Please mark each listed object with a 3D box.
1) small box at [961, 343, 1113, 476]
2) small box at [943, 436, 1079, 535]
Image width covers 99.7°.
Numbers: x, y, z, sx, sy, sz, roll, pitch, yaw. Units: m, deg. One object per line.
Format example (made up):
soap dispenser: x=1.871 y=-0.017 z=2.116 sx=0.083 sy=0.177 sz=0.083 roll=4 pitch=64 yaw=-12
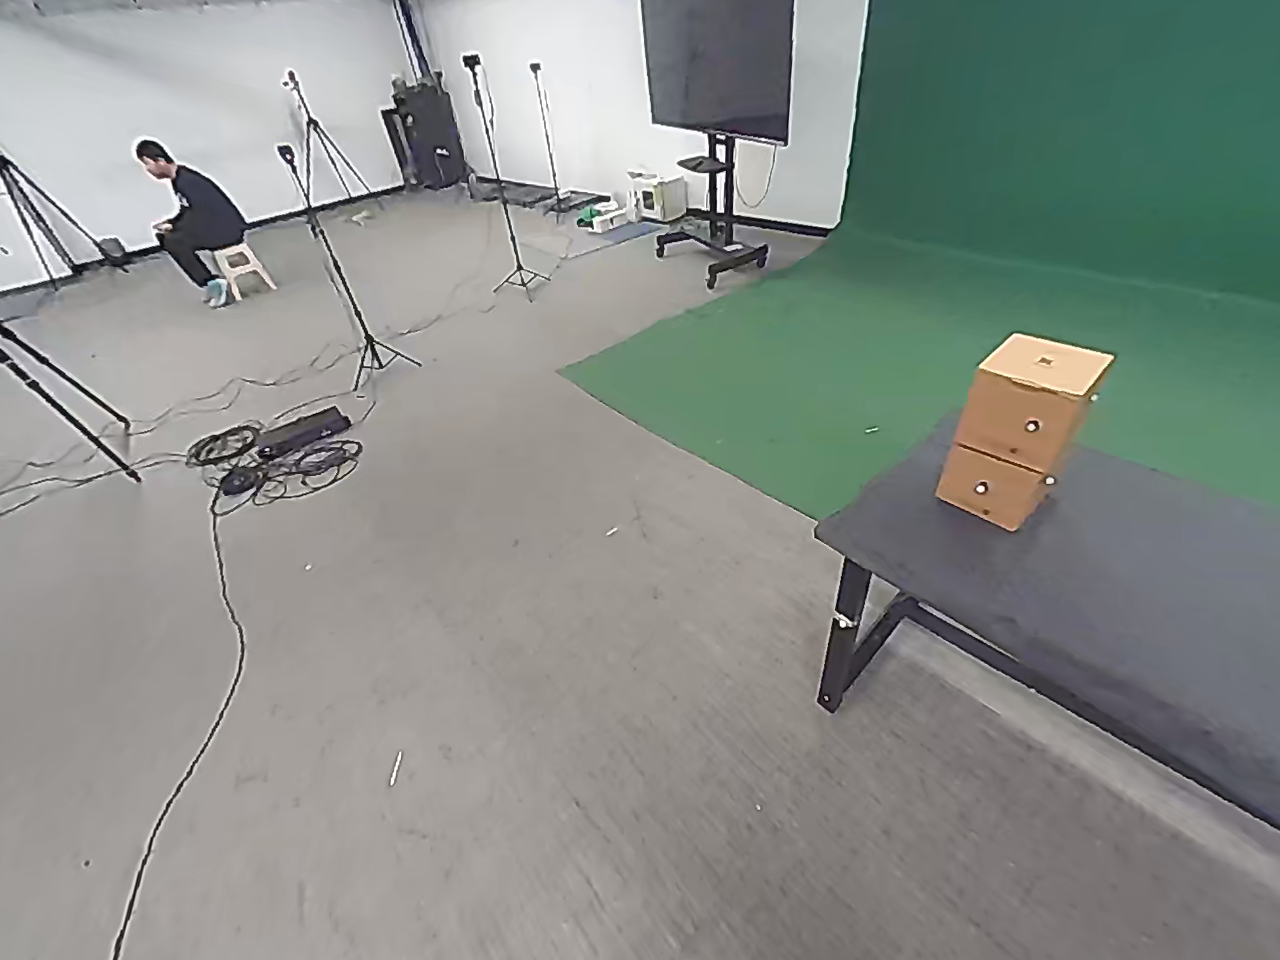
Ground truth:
small box: x=0.741 y=-0.134 z=1.028 sx=0.179 sy=0.176 sz=0.168 roll=-33 pitch=46 yaw=-29
small box: x=0.768 y=-0.016 z=1.138 sx=0.179 sy=0.176 sz=0.168 roll=-32 pitch=46 yaw=-27
